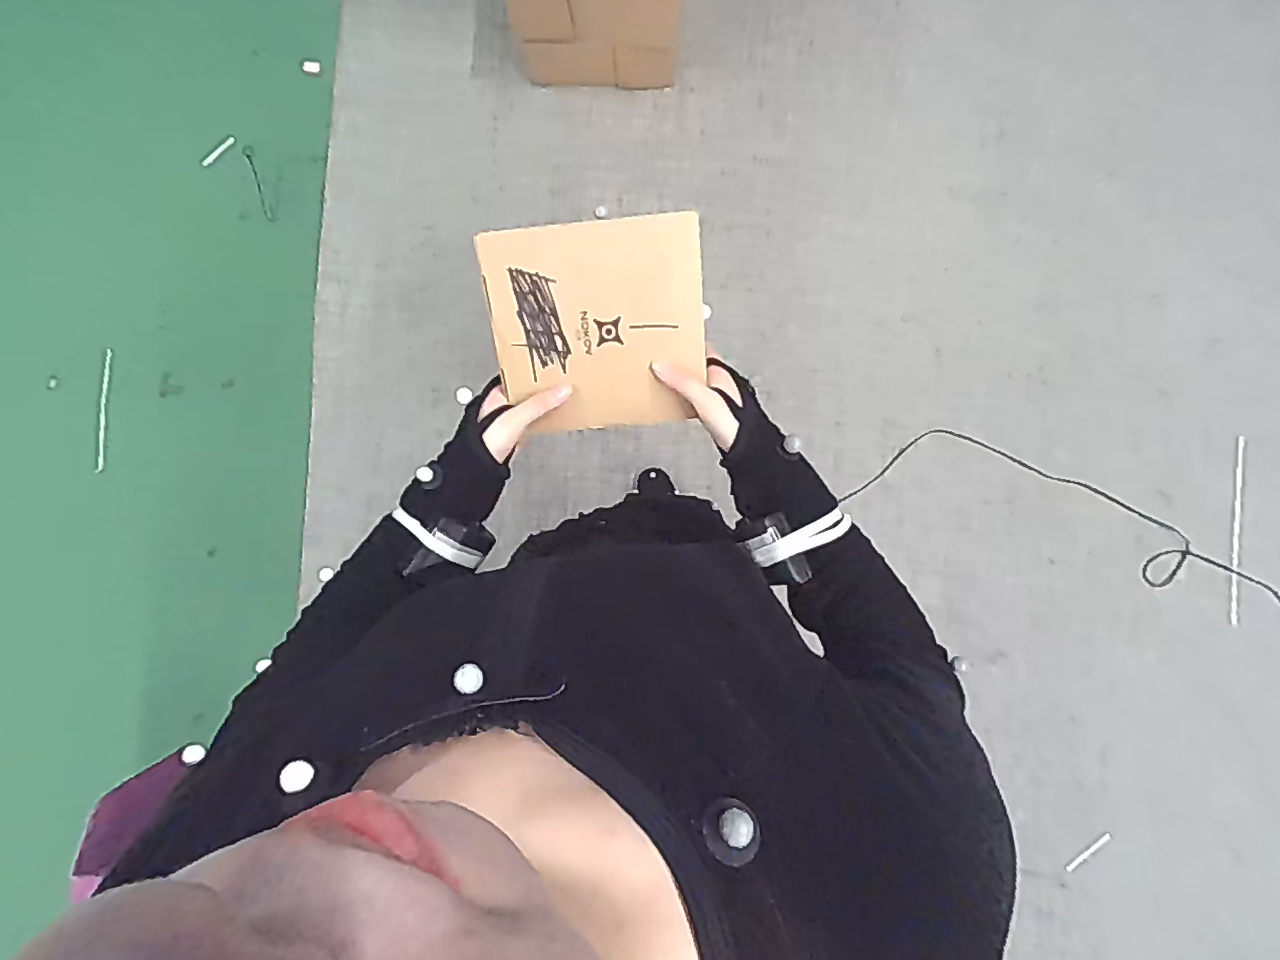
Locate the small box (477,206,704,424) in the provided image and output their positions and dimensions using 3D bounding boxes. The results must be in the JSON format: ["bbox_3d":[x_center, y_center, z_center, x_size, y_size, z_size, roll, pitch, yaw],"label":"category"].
[{"bbox_3d":[-0.034,-0.160,0.518,0.179,0.176,0.168,-4,113,2],"label":"small box"}]
